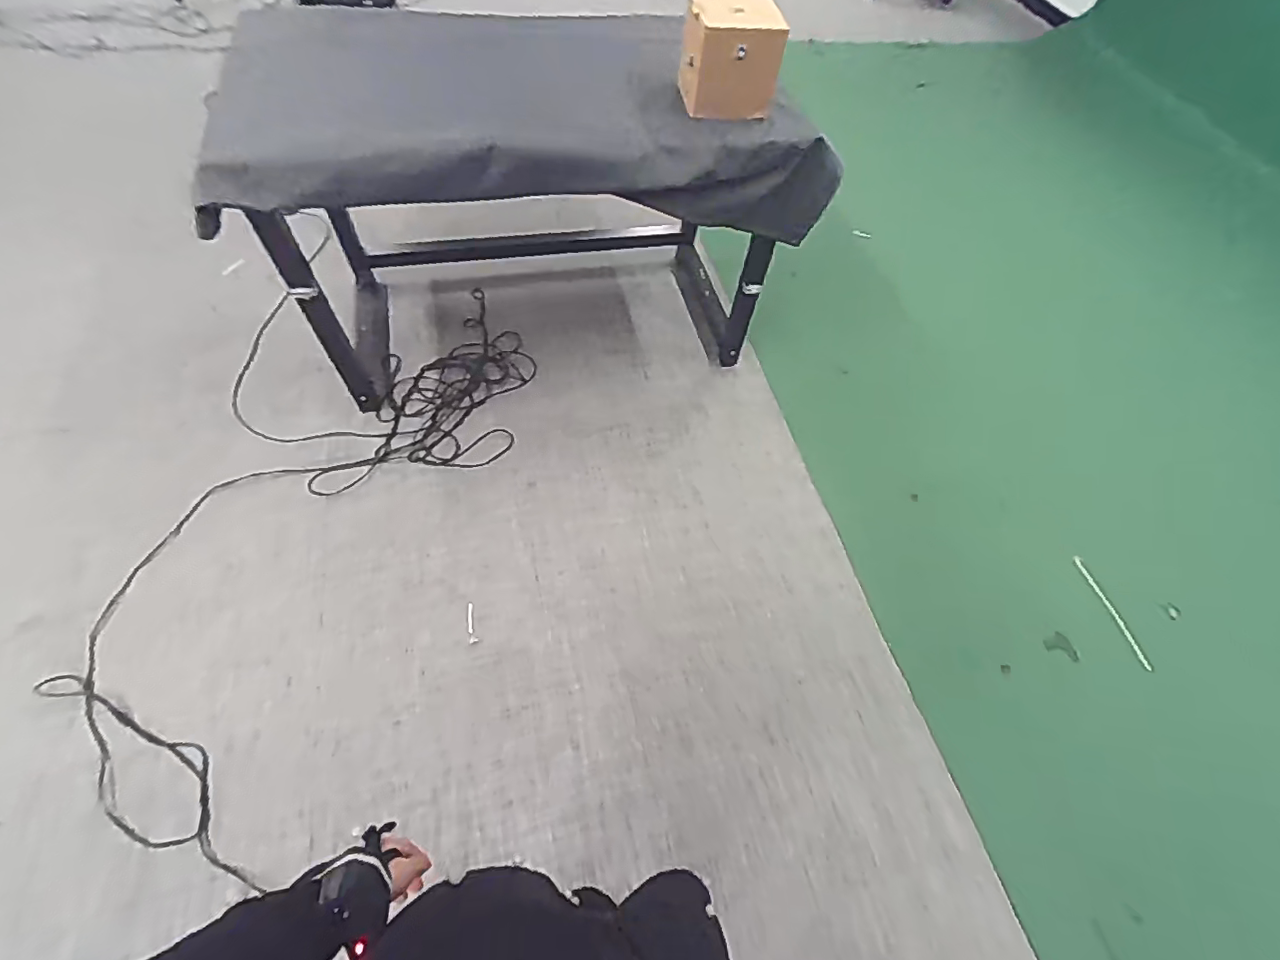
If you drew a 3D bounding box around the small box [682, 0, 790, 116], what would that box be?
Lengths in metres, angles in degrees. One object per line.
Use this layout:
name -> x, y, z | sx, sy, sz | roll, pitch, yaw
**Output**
small box -> 0.191, -0.902, 1.145 | 0.179, 0.176, 0.168 | -4, 61, -9
